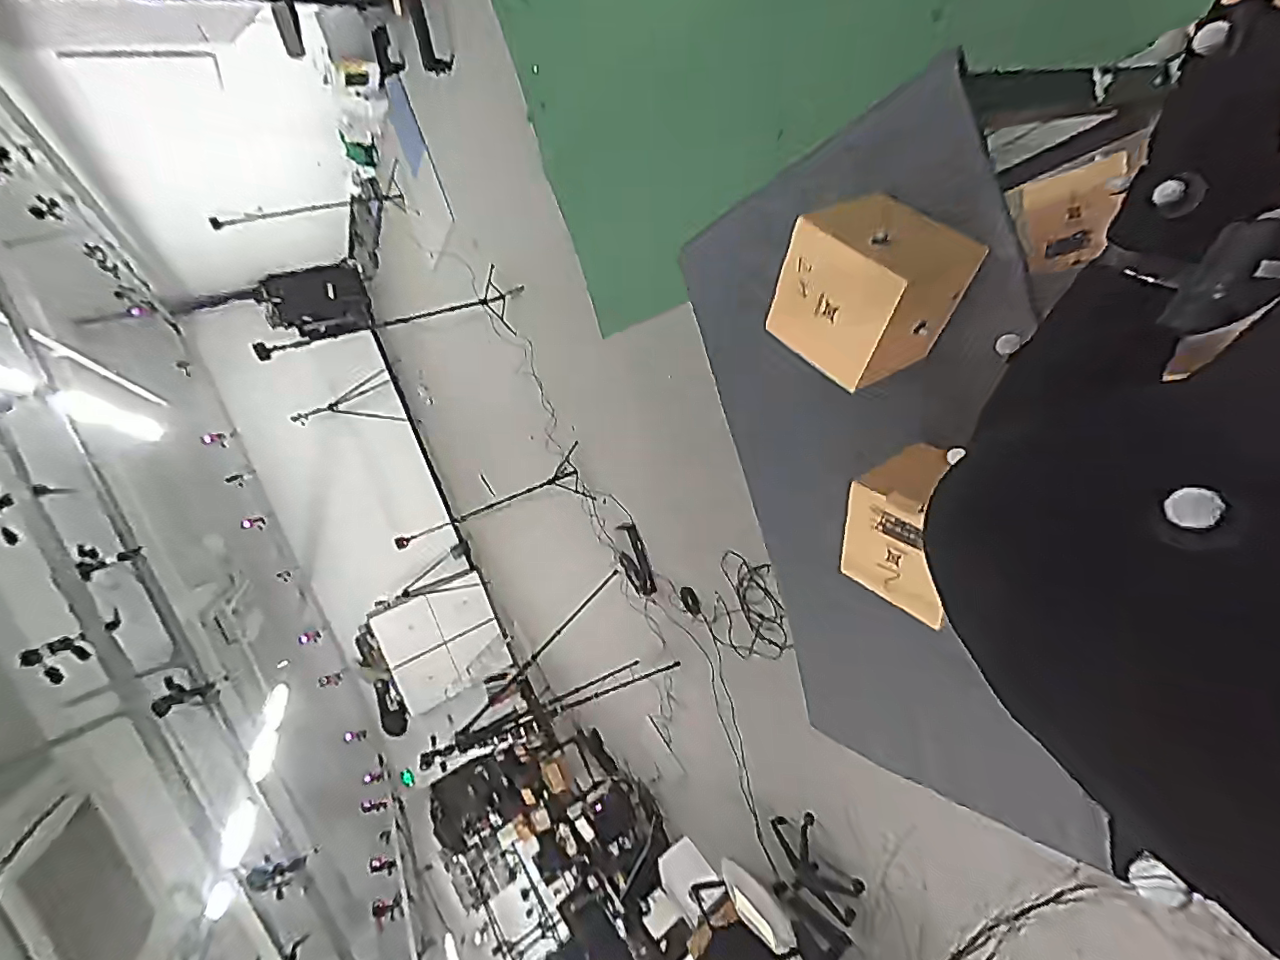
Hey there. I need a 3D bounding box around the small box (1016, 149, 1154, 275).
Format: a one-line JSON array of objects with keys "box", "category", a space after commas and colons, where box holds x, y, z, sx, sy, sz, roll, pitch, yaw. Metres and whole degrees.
[{"box": [0.884, -0.528, 1.073, 0.168, 0.176, 0.179, 7, 116, 58], "category": "small box"}]

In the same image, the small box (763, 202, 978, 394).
[{"box": [0.302, -0.251, 0.727, 0.179, 0.176, 0.168, 49, 150, 29], "category": "small box"}]
